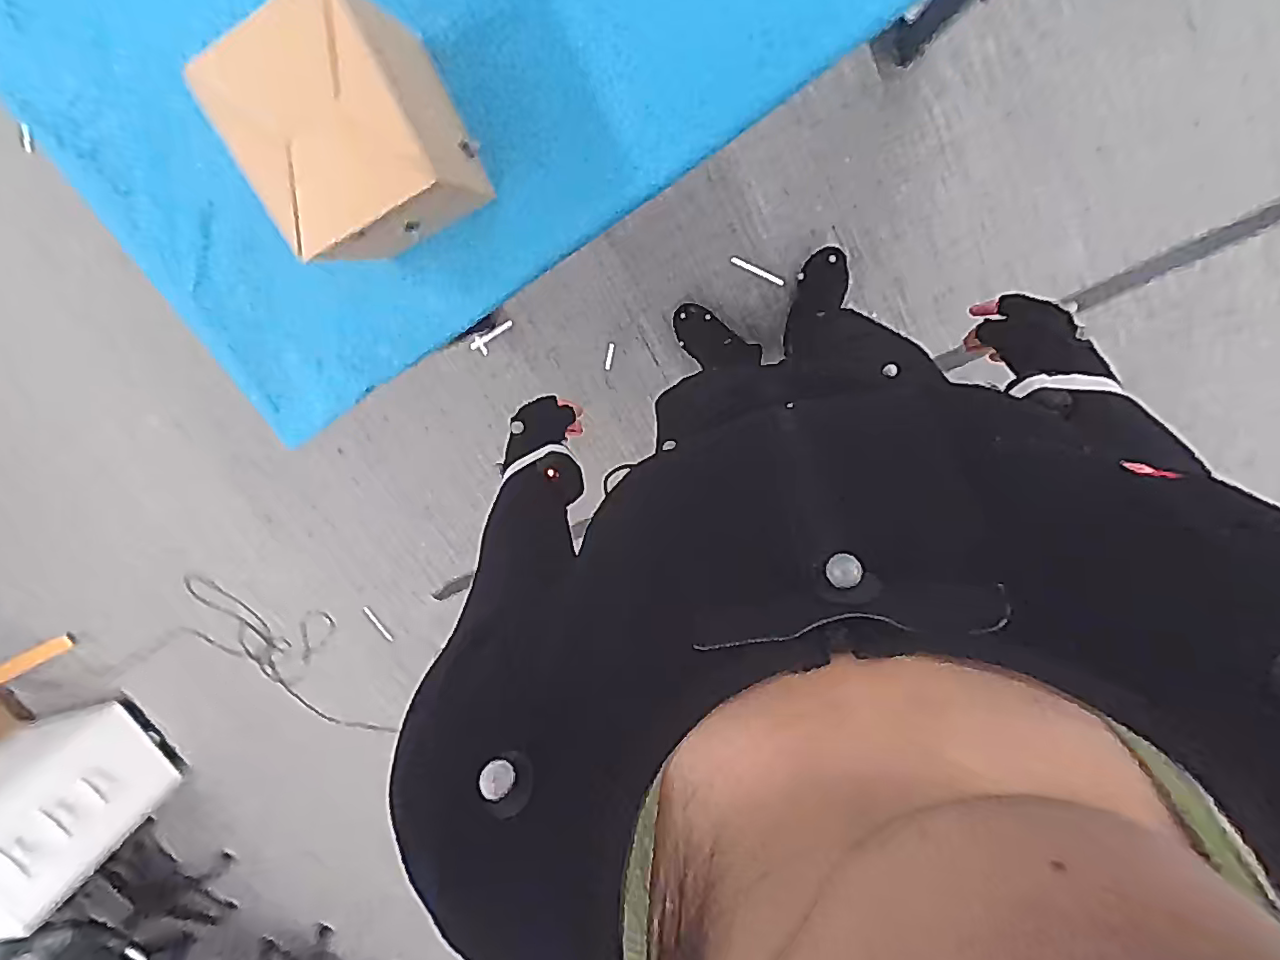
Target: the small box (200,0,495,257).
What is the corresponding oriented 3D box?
[{"bbox_3d":[-0.287,-0.351,0.560,0.168,0.176,0.179,-22,109,14],"label":"small box"}]
